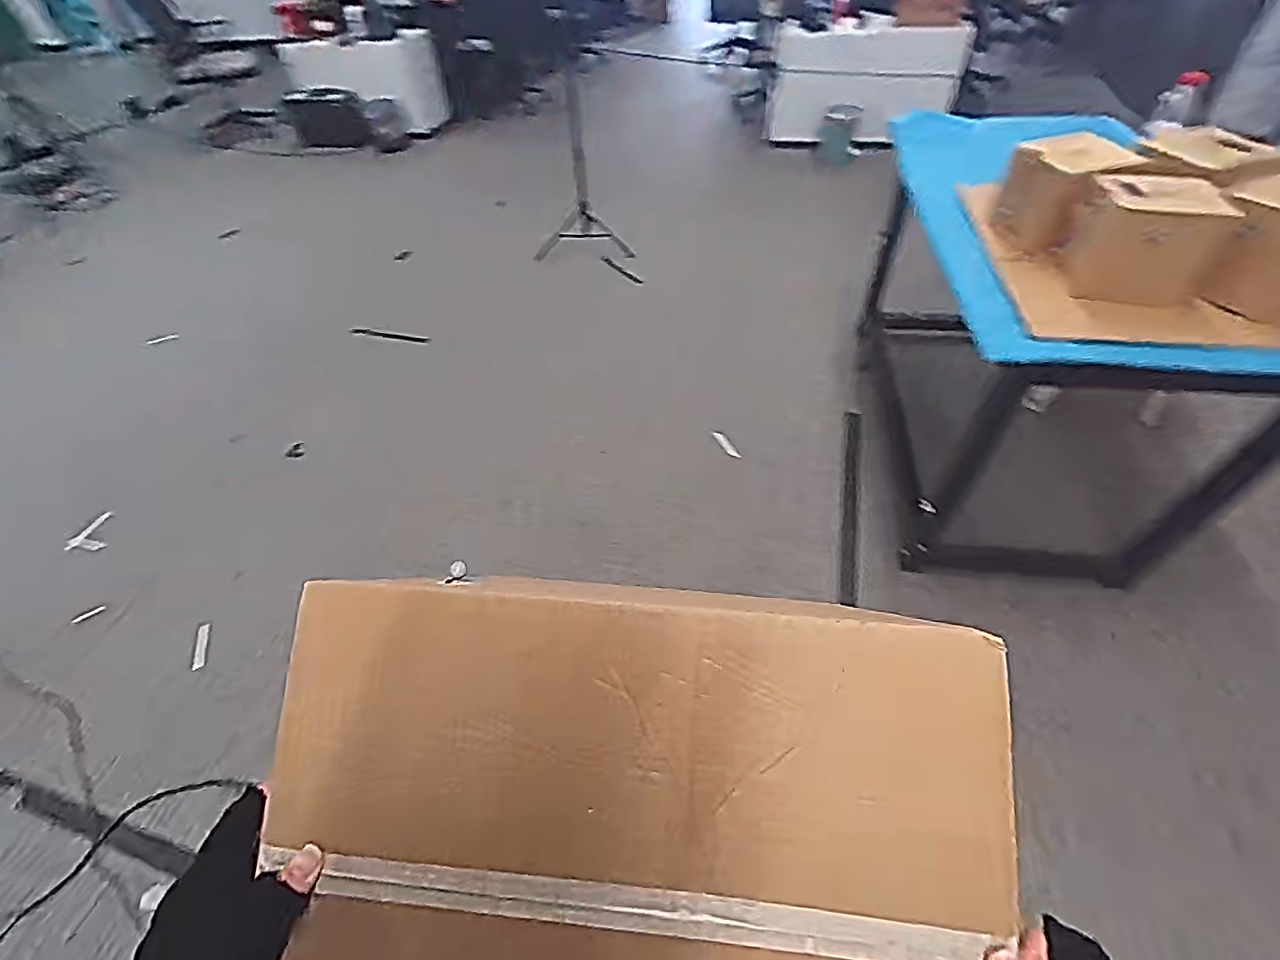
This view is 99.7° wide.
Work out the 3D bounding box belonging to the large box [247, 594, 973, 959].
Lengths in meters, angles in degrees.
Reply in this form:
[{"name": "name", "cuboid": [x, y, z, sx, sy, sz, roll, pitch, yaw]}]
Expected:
[{"name": "large box", "cuboid": [-0.013, 0.258, 0.446, 0.408, 0.320, 0.320, 2, 81, 5]}]
